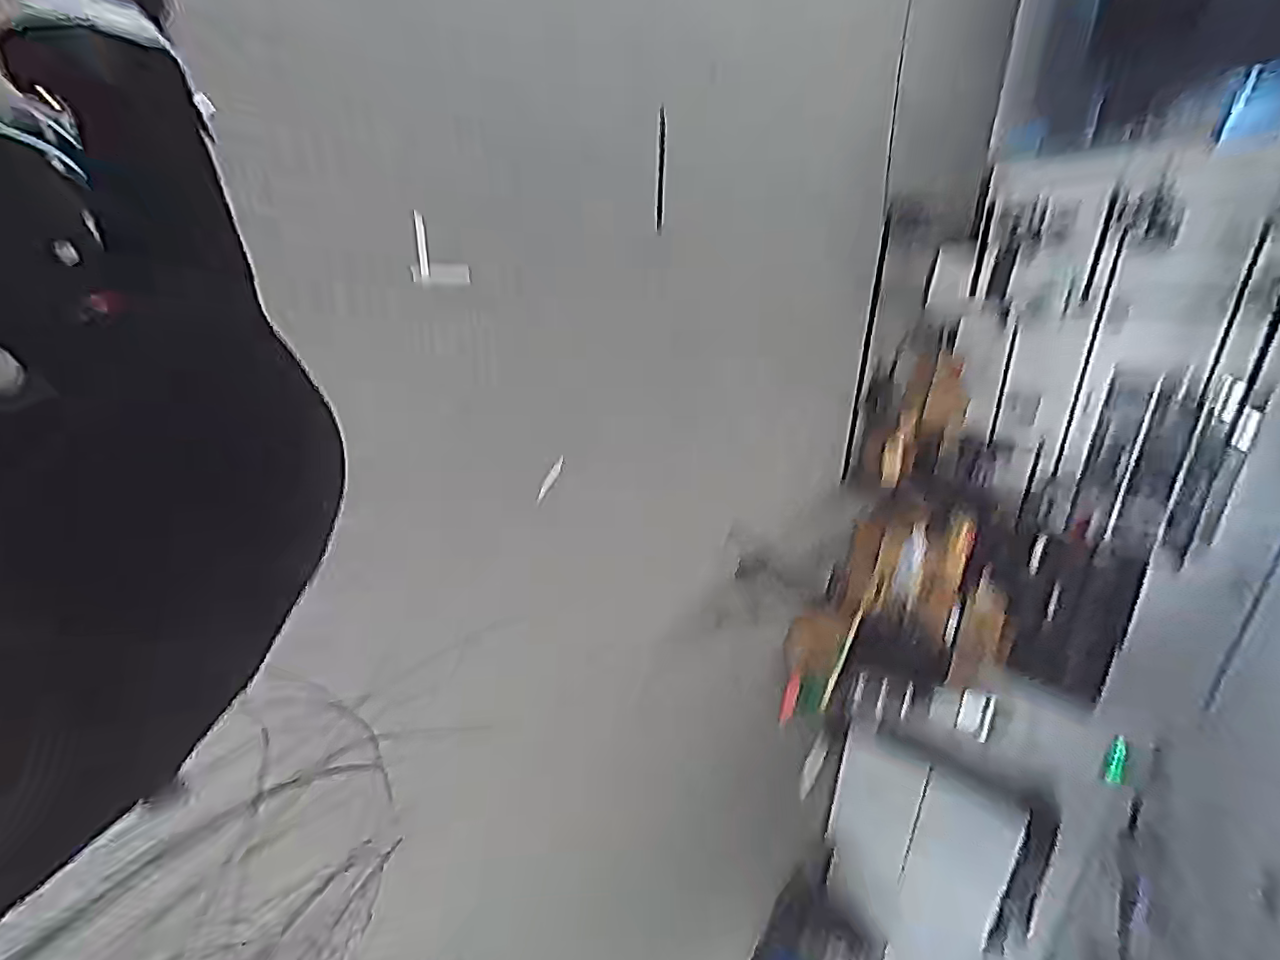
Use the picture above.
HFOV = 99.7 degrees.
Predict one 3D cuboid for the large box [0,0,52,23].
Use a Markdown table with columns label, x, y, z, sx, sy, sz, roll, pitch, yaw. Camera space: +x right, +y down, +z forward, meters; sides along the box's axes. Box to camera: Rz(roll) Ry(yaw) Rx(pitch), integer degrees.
| label | x | y | z | sx | sy | sz | roll | pitch | yaw |
| --- | --- | --- | --- | --- | --- | --- | --- | --- | --- |
| large box | -0.612 | -0.435 | 0.223 | 0.408 | 0.320 | 0.320 | -27 | 134 | -46 |
